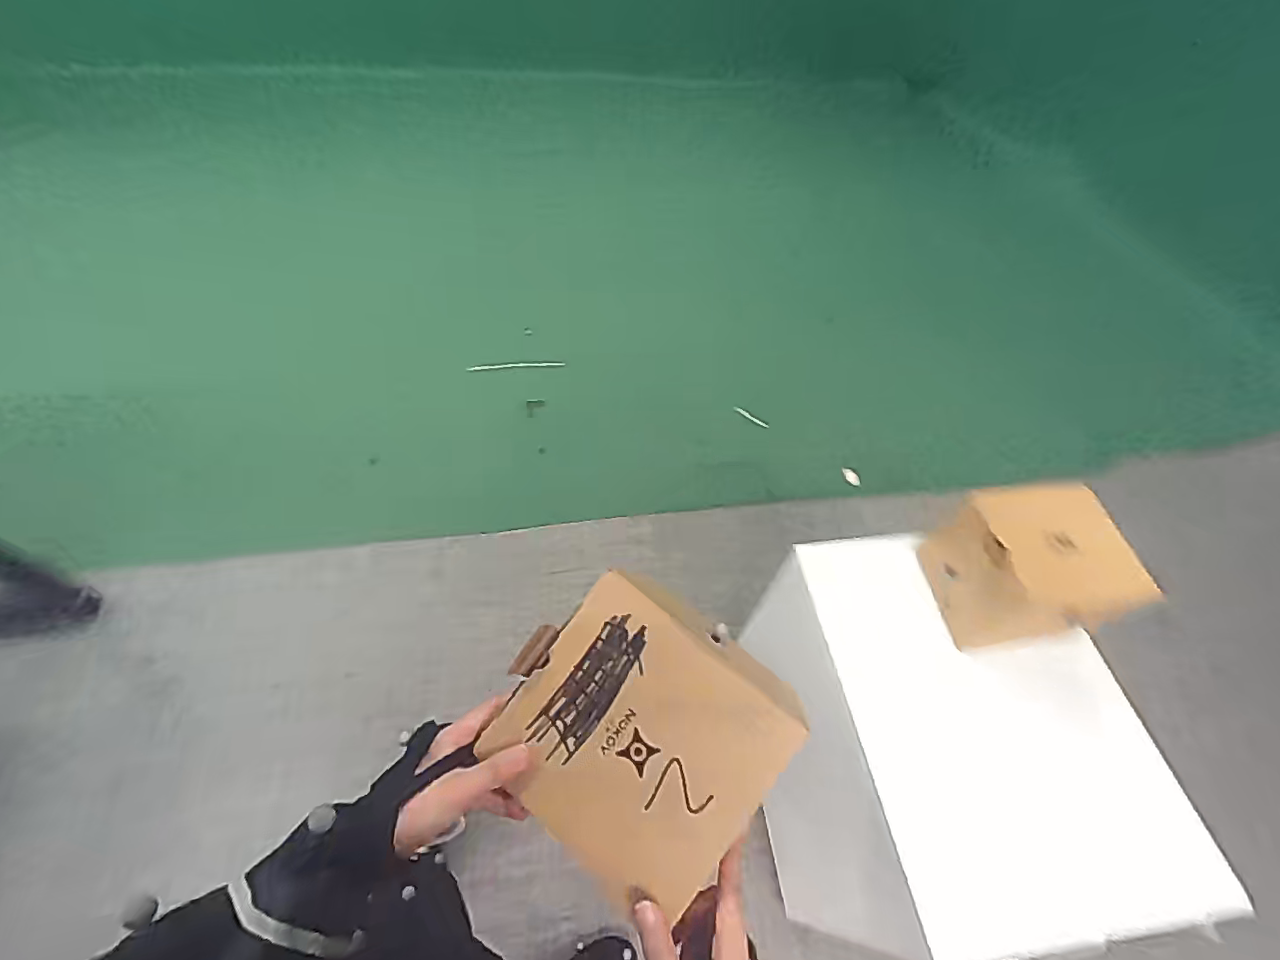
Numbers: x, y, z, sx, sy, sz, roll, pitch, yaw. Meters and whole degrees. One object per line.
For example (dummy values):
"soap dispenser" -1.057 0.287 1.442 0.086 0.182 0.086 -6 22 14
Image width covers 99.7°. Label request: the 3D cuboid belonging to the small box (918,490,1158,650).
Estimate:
"small box" 0.536 0.130 0.760 0.179 0.176 0.168 -4 57 -6
